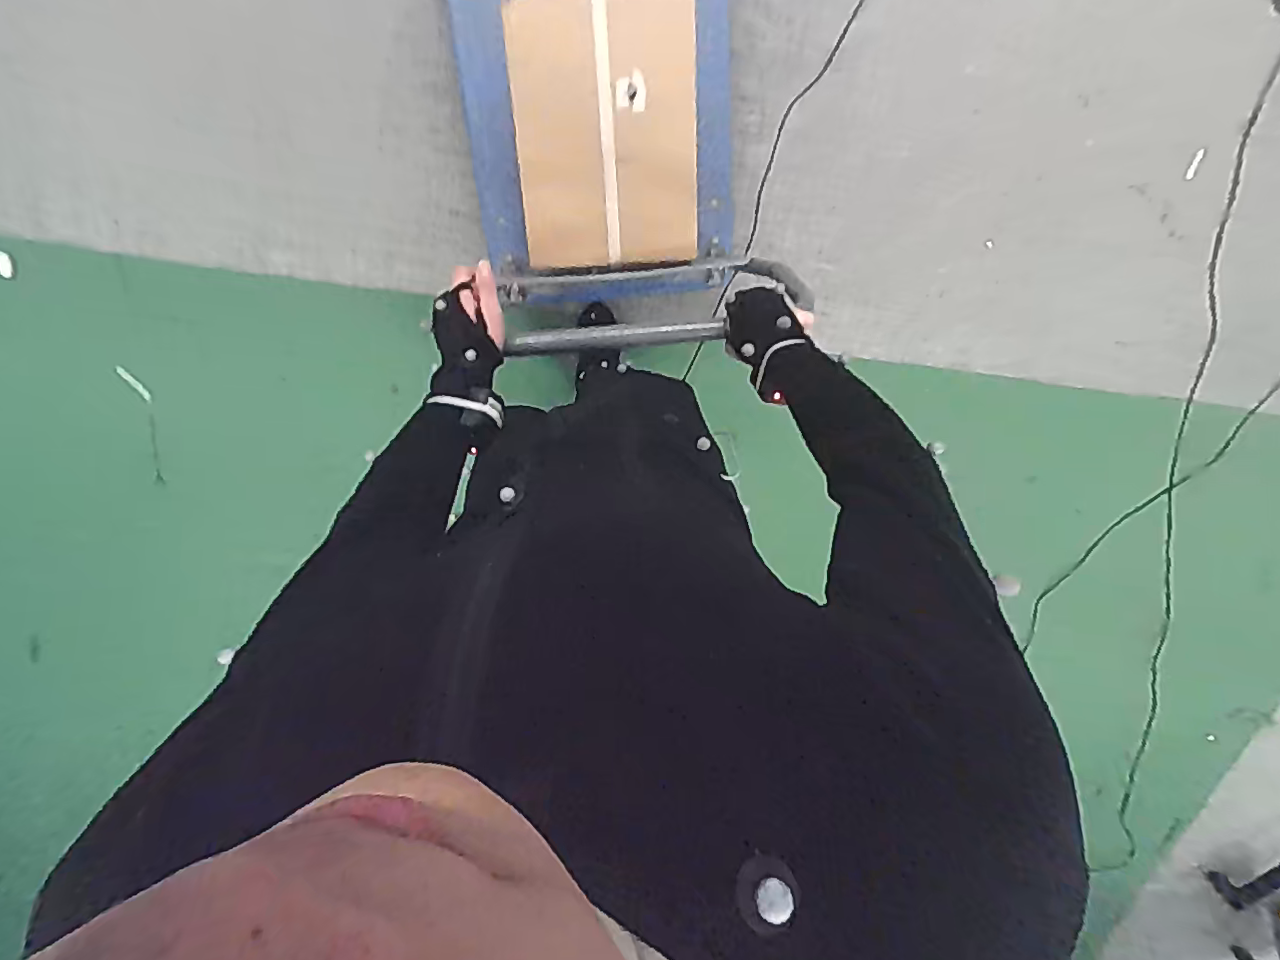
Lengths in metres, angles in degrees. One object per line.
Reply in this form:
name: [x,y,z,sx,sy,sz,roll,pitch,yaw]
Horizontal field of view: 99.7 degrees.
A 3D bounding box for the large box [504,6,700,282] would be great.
large box: [-0.061,-0.622,1.081,0.320,0.320,0.408,-4,110,-2]
